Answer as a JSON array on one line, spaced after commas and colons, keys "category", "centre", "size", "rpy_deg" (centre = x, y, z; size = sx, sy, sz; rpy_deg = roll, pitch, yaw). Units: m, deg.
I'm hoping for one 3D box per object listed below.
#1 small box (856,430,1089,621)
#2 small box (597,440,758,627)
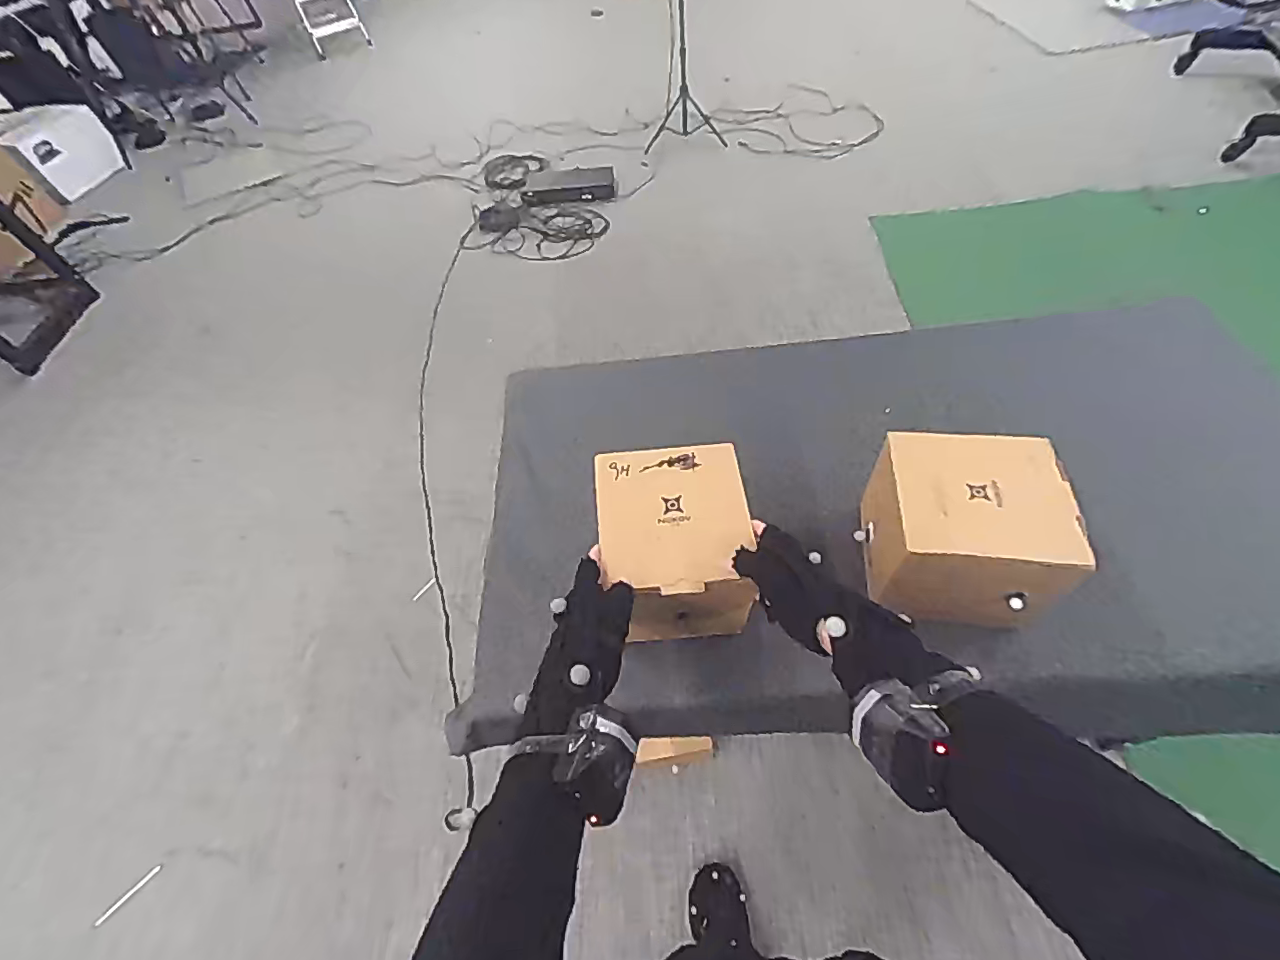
[{"category": "small box", "centre": [0.376, 0.059, 0.653], "size": [0.179, 0.176, 0.168], "rpy_deg": [3, 54, 9]}, {"category": "small box", "centre": [0.038, 0.073, 0.661], "size": [0.168, 0.176, 0.179], "rpy_deg": [-4, 58, -2]}]
